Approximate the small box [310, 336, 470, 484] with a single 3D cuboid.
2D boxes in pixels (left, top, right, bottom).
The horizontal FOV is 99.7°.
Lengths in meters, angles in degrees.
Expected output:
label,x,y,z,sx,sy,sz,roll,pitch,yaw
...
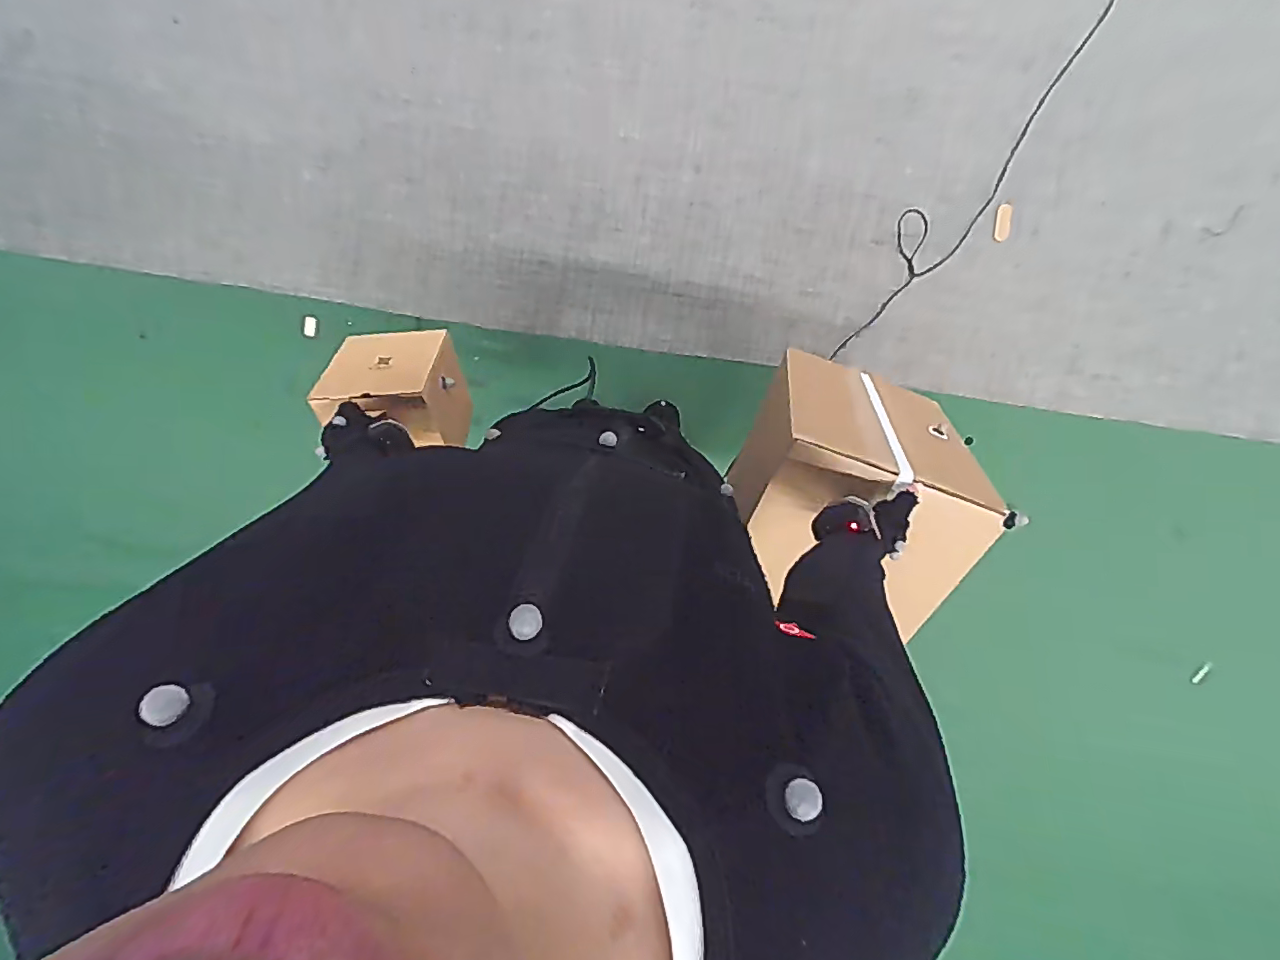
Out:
label,x,y,z,sx,sy,sz,roll,pitch,yaw
small box,-0.390,-0.115,0.884,0.168,0.179,0.176,-4,135,0
